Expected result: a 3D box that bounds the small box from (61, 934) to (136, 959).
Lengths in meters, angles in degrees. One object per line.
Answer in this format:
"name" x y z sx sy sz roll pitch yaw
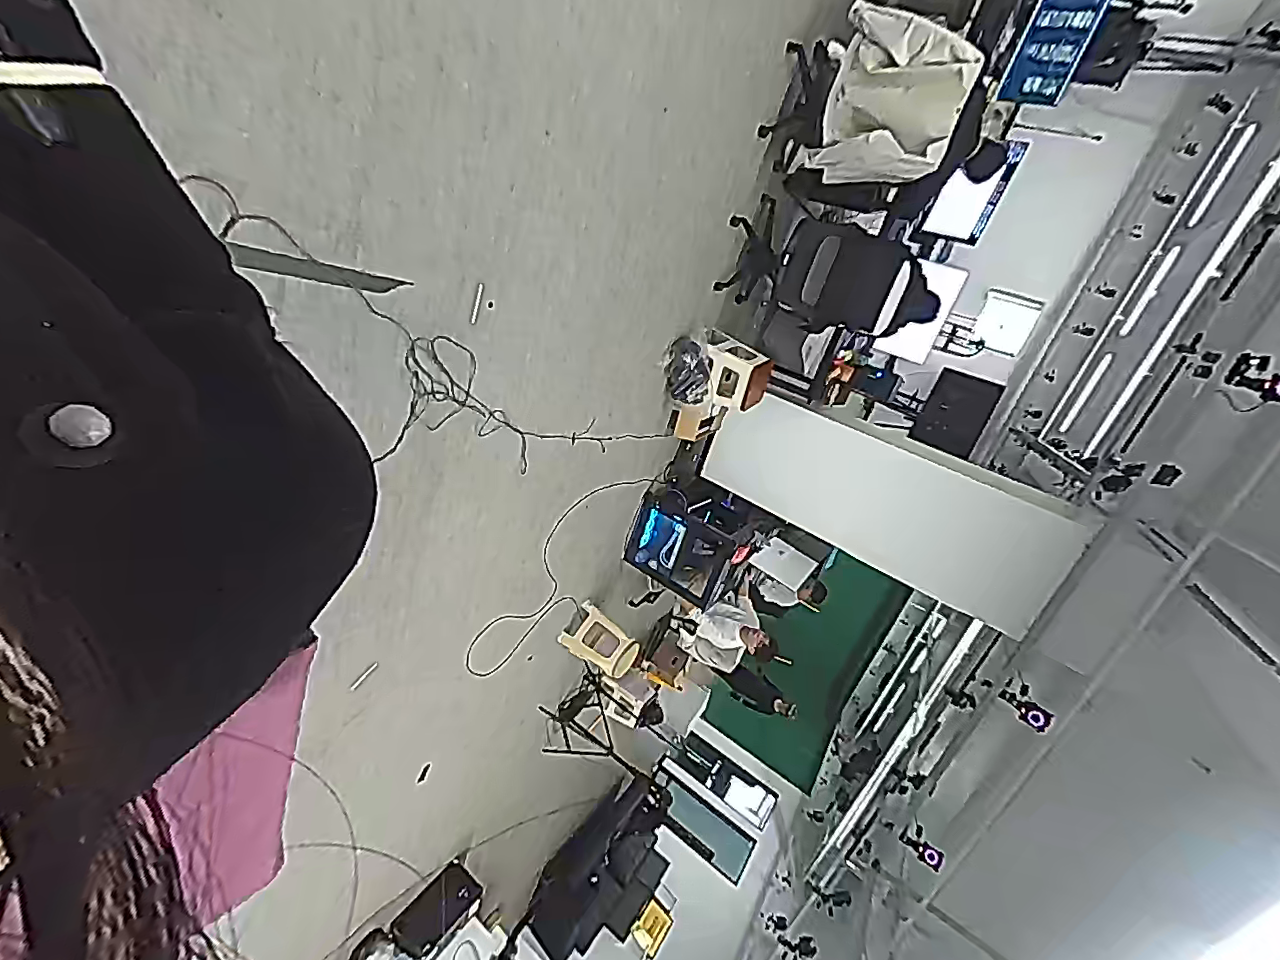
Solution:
"small box" -0.896 0.873 0.845 0.168 0.176 0.179 -12 124 -60
